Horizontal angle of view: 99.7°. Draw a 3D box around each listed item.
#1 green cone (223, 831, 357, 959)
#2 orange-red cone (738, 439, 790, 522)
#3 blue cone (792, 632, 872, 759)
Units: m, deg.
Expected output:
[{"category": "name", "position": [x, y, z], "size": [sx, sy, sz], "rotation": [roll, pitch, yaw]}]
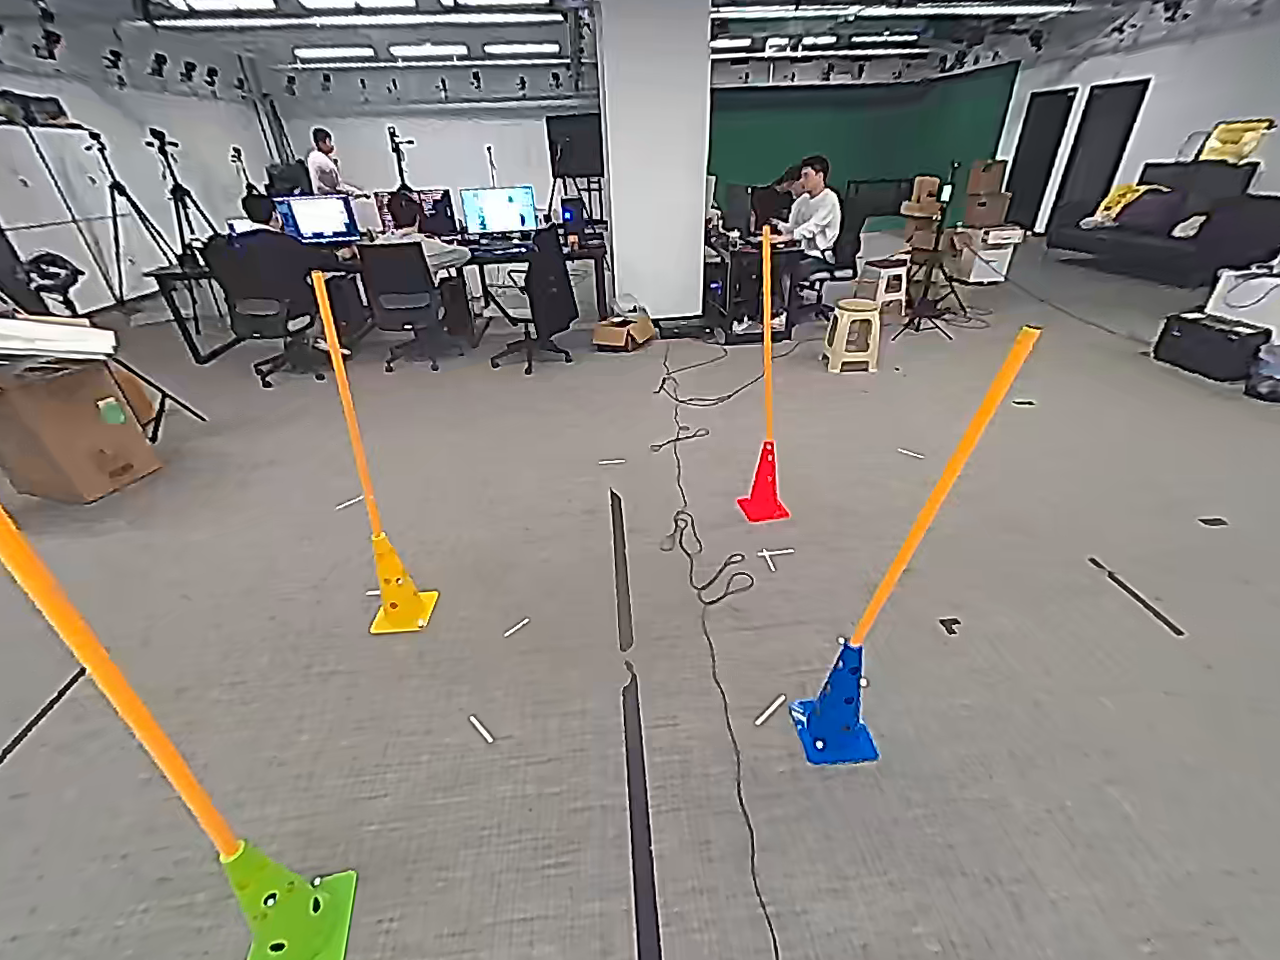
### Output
[{"category": "green cone", "position": [-0.742, 0.835, 1.092], "size": [0.200, 0.368, 0.202], "rotation": [-10, 30, -12]}, {"category": "orange-red cone", "position": [0.562, -0.014, 2.413], "size": [0.199, 0.360, 0.198], "rotation": [-8, 31, -7]}, {"category": "blue cone", "position": [0.543, 0.568, 1.466], "size": [0.193, 0.380, 0.192], "rotation": [-3, 30, -1]}]
